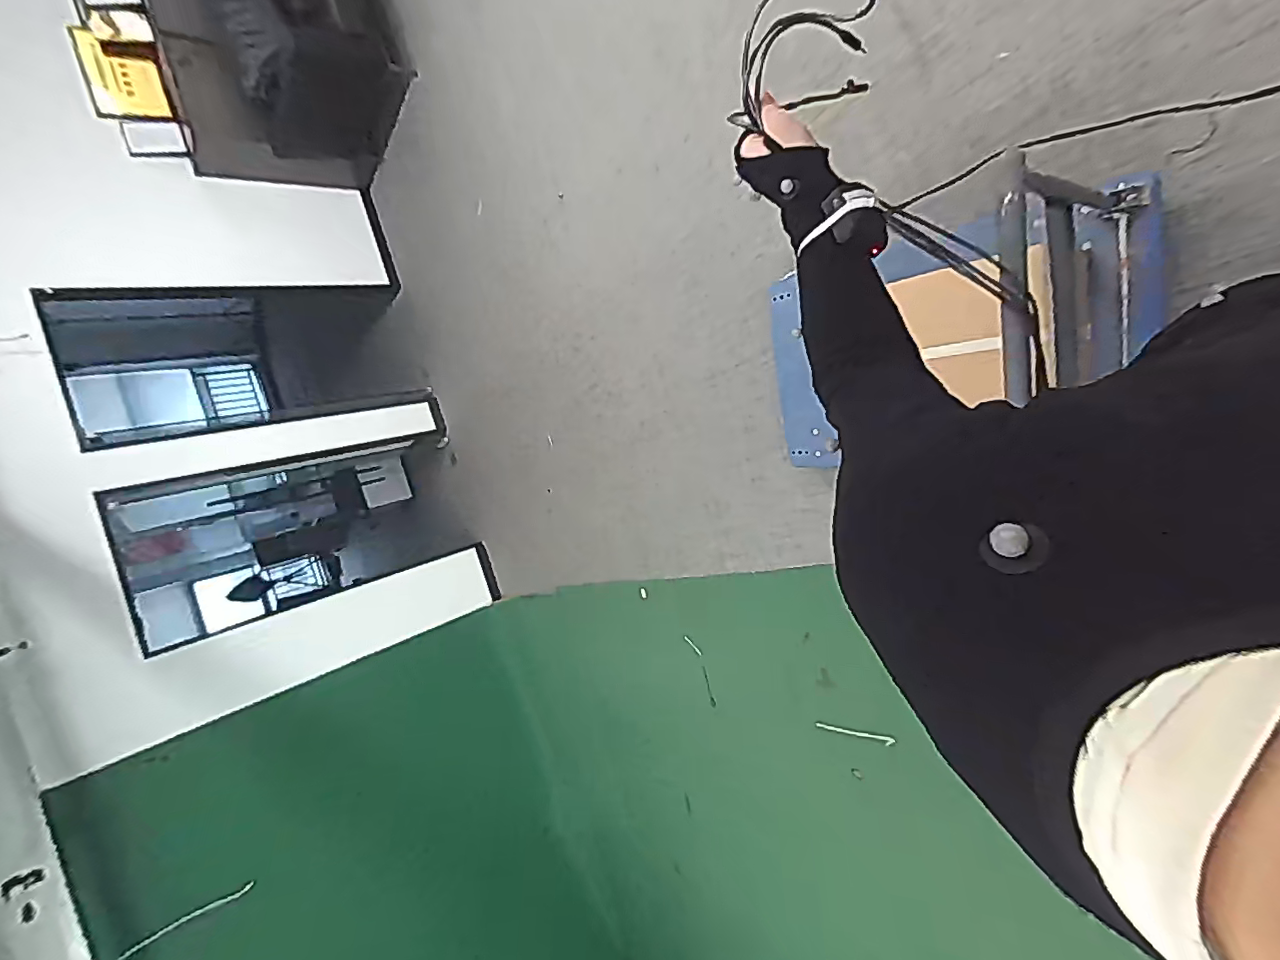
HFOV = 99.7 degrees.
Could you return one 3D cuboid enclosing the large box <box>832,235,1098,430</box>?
[{"bbox_3d":[0.697,-0.304,1.173,0.408,0.320,0.320,0,104,51],"label":"large box"}]
